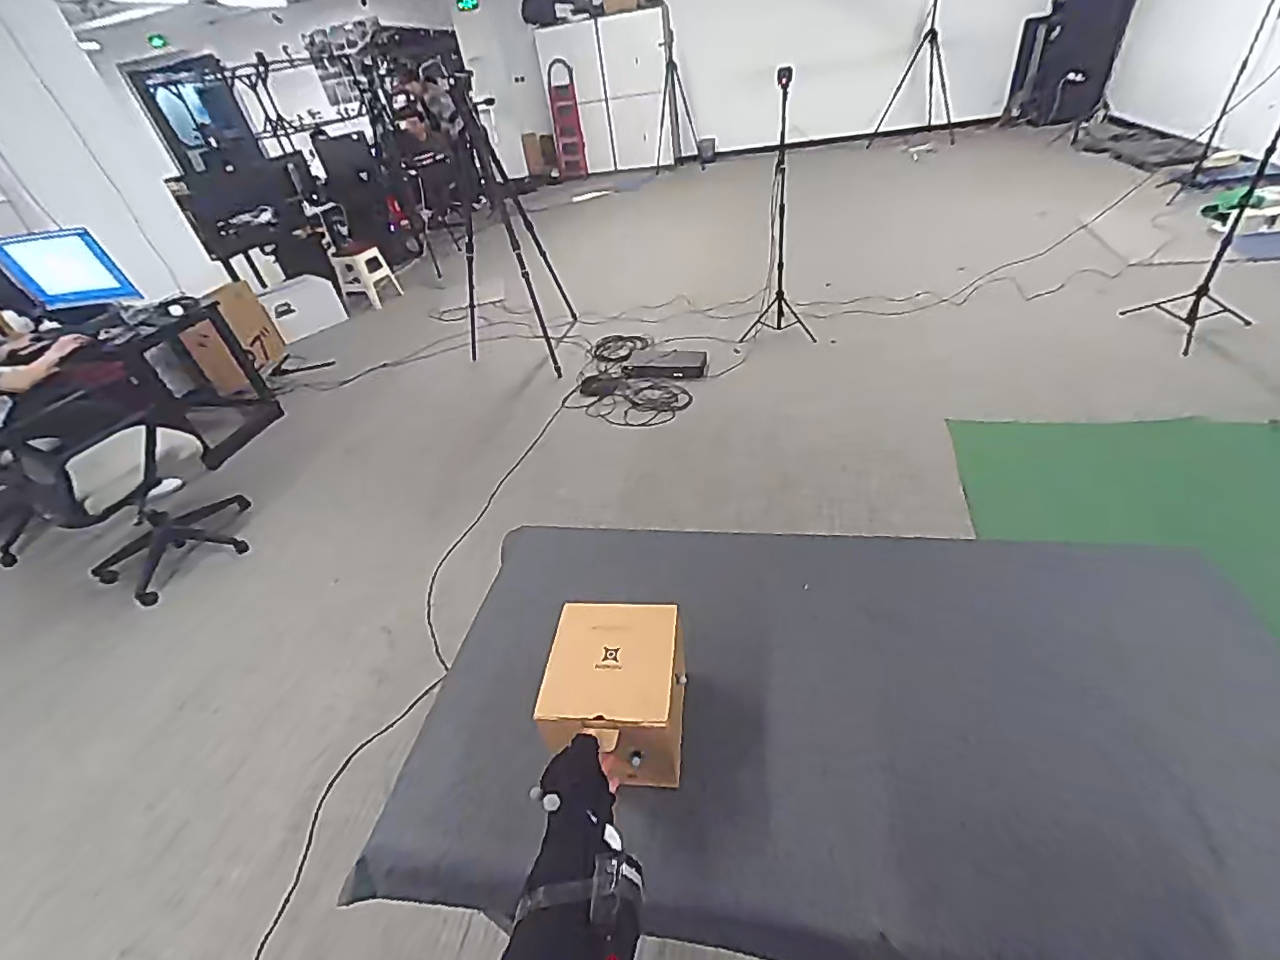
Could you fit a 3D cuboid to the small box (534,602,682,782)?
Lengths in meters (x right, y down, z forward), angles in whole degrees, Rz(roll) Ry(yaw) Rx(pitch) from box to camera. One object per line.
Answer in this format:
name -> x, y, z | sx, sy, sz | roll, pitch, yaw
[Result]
small box -> -0.031, 0.291, 0.748 | 0.168, 0.176, 0.179 | 0, 37, 8
